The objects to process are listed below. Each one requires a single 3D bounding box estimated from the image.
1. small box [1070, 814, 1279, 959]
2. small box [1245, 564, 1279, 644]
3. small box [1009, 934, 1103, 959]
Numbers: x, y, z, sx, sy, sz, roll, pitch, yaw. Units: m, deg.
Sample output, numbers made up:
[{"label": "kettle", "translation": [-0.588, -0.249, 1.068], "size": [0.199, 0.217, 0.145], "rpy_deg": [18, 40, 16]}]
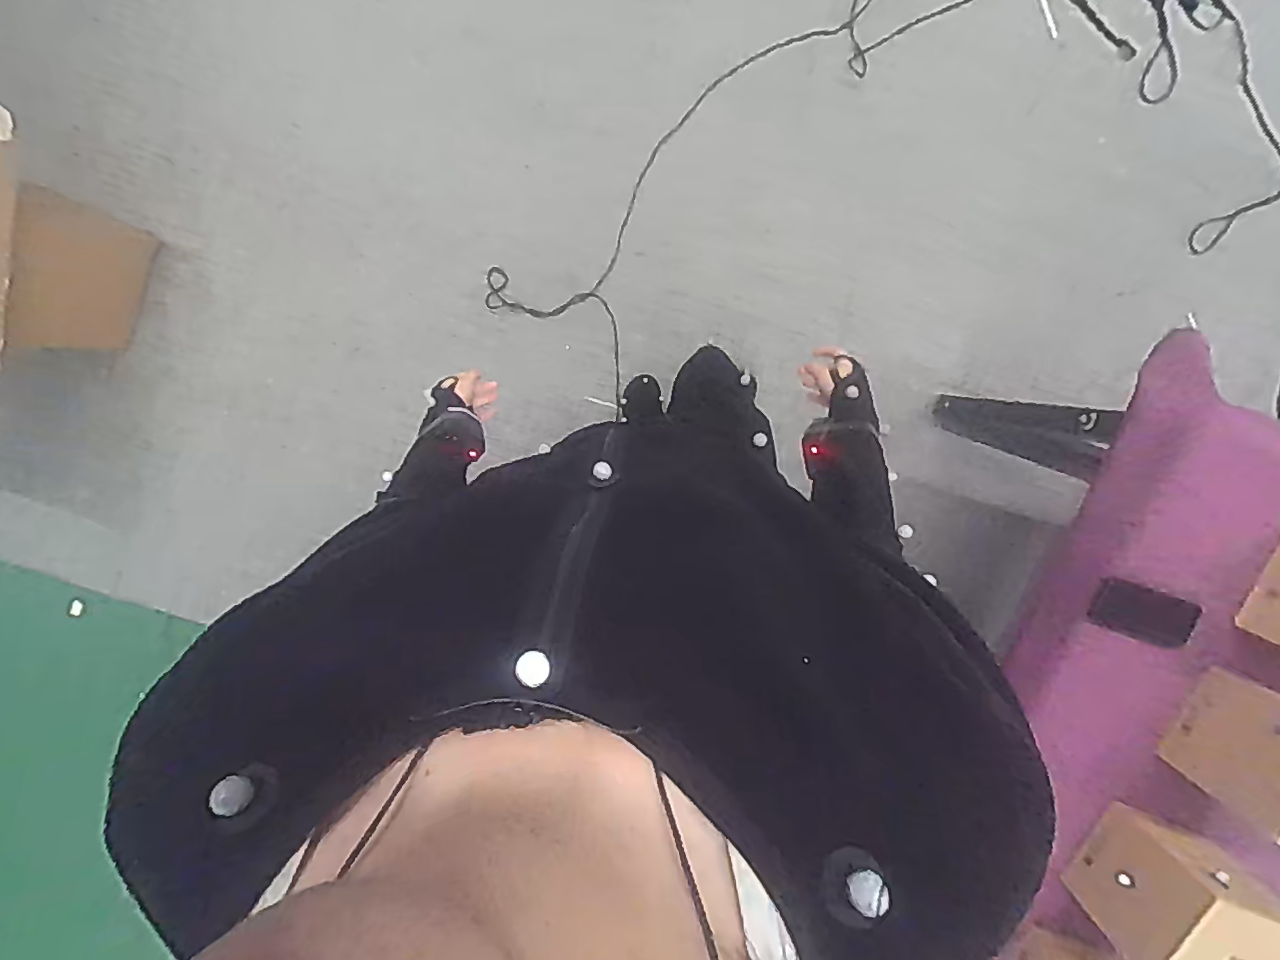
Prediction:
[{"label": "small box", "translation": [0.802, 0.639, 0.798], "size": [0.179, 0.176, 0.168], "rpy_deg": [23, 101, -4]}, {"label": "small box", "translation": [0.982, 0.181, 0.705], "size": [0.179, 0.176, 0.168], "rpy_deg": [17, 101, -3]}, {"label": "small box", "translation": [0.701, 0.874, 0.848], "size": [0.179, 0.176, 0.168], "rpy_deg": [25, 100, -4]}]
